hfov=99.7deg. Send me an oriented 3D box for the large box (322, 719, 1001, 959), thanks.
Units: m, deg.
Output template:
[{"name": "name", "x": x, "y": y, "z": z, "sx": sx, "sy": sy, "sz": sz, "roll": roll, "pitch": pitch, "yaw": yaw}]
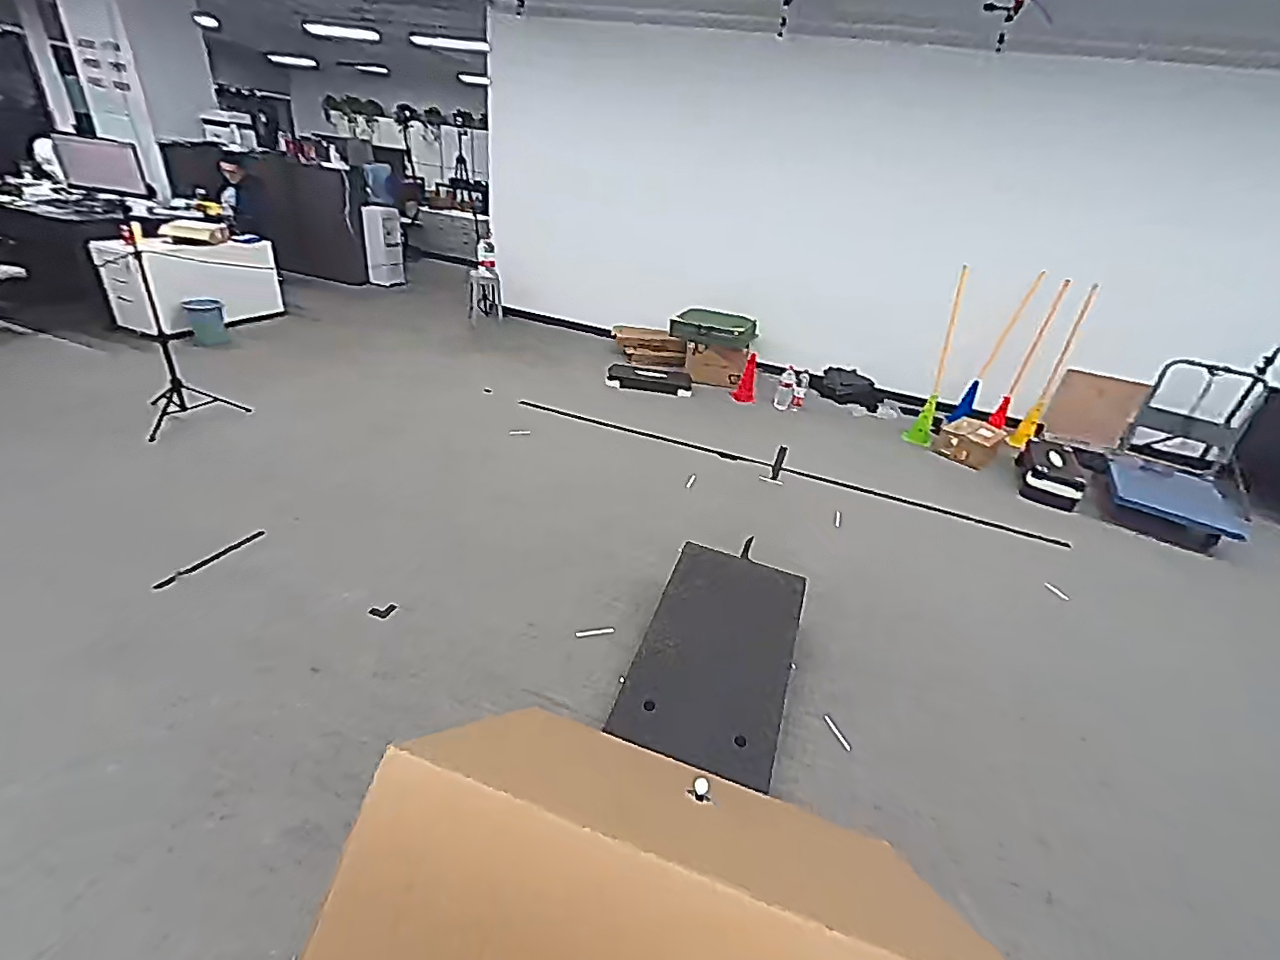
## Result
[{"name": "large box", "x": 0.001, "y": 0.414, "z": 0.416, "sx": 0.408, "sy": 0.320, "sz": 0.320, "roll": 15, "pitch": 75, "yaw": 10}]
